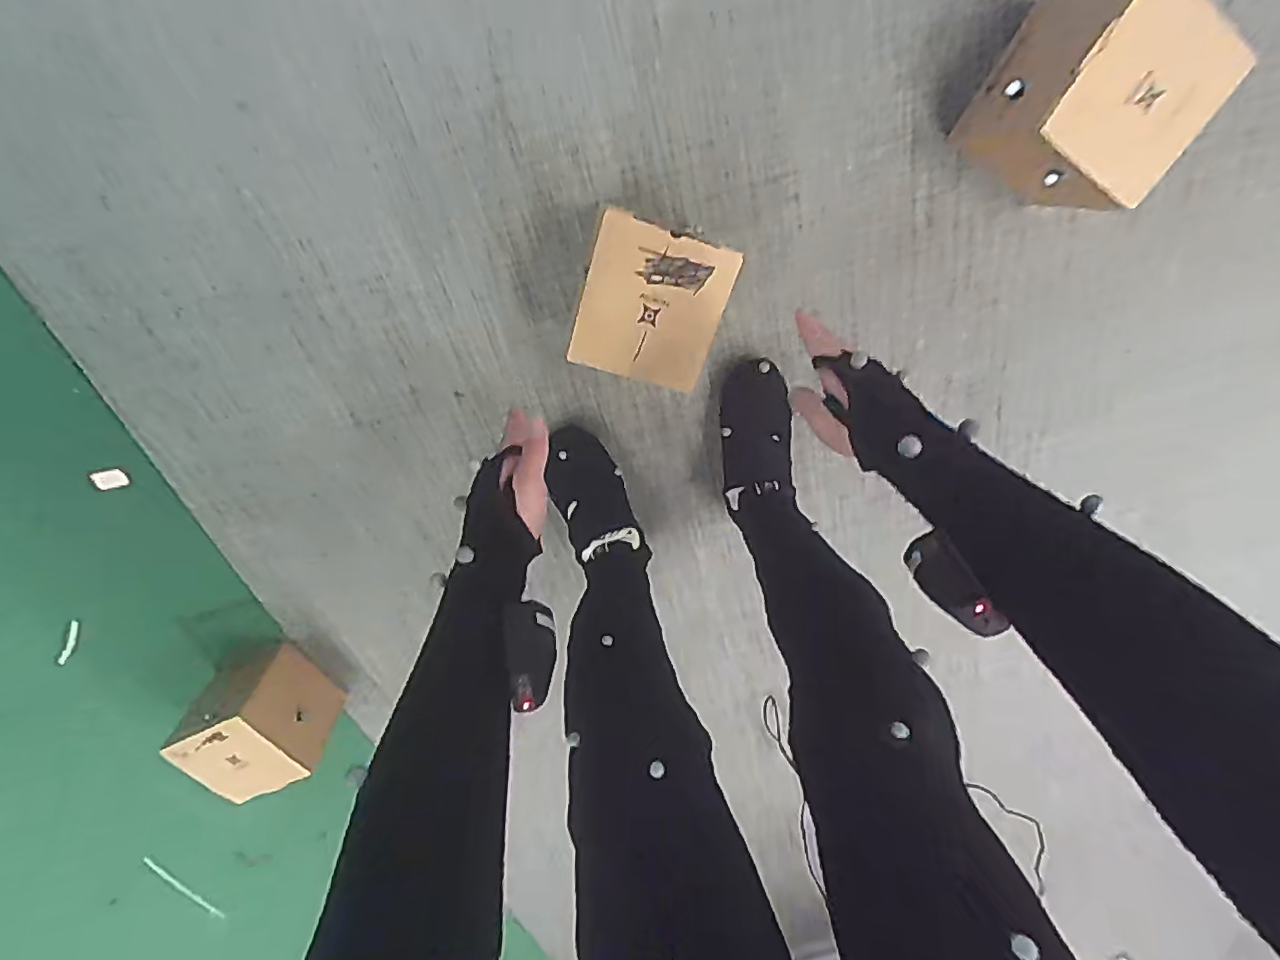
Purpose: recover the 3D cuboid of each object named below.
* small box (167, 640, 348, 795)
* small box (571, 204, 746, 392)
[{"bbox_3d":[-0.675,0.427,0.984,0.168,0.176,0.179,-24,119,7],"label":"small box"},{"bbox_3d":[0.010,-0.240,0.698,0.168,0.176,0.179,13,117,-13],"label":"small box"}]
